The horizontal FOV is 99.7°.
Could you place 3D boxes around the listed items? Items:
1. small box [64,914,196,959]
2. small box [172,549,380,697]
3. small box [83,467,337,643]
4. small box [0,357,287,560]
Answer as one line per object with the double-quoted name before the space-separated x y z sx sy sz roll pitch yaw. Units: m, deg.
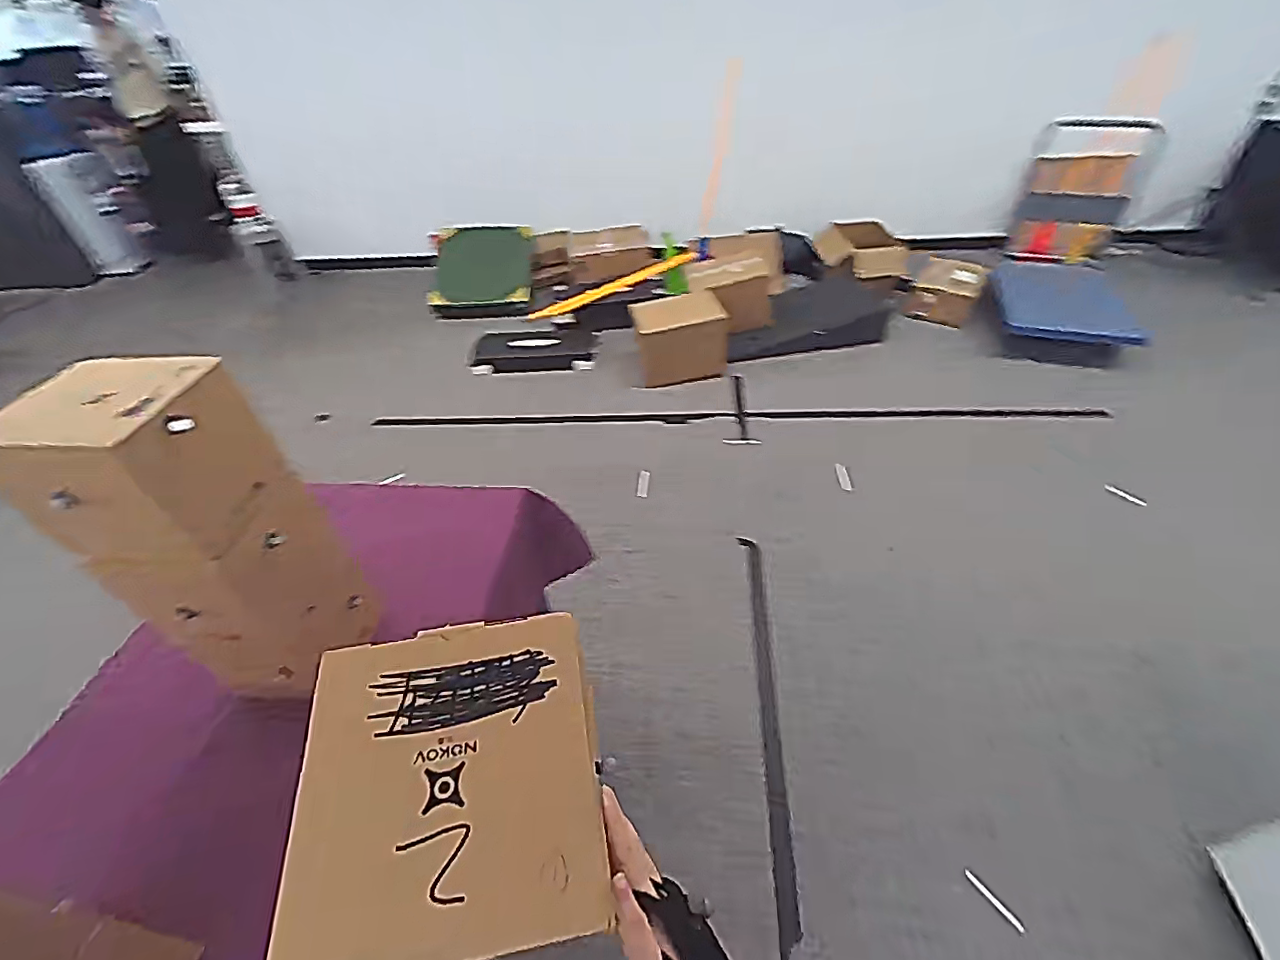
"small box" -0.595 0.527 0.512 0.179 0.176 0.168 0 43 4
"small box" -0.539 0.220 0.835 0.179 0.176 0.168 0 43 5
"small box" -0.545 0.101 0.723 0.168 0.176 0.179 0 43 4
"small box" -0.559 -0.023 0.615 0.179 0.176 0.168 0 43 5
